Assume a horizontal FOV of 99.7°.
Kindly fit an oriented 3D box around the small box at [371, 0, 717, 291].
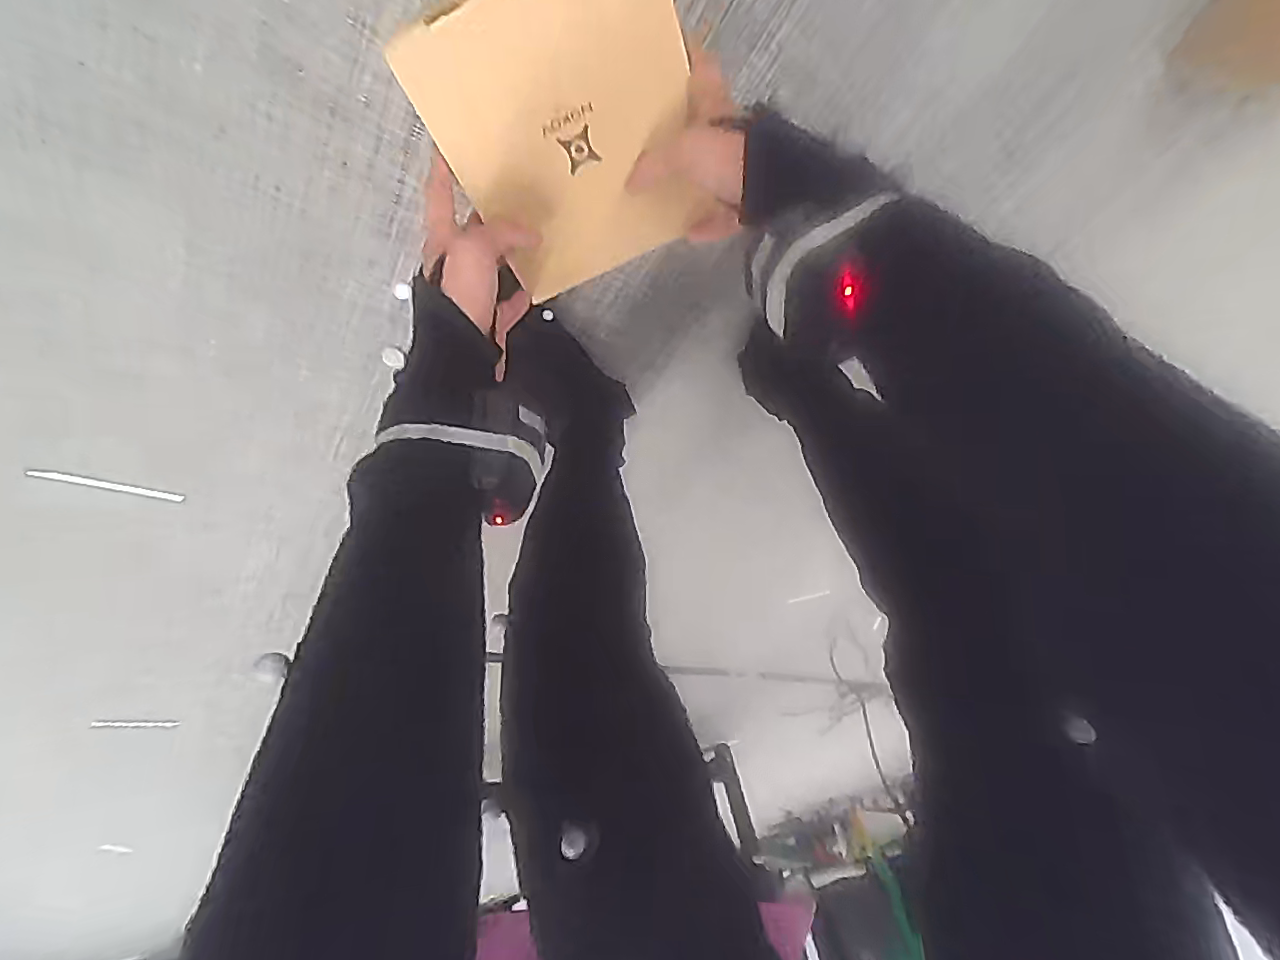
[{"bbox_3d":[-0.057,-0.282,0.400,0.168,0.176,0.179,-20,136,10],"label":"small box"}]
